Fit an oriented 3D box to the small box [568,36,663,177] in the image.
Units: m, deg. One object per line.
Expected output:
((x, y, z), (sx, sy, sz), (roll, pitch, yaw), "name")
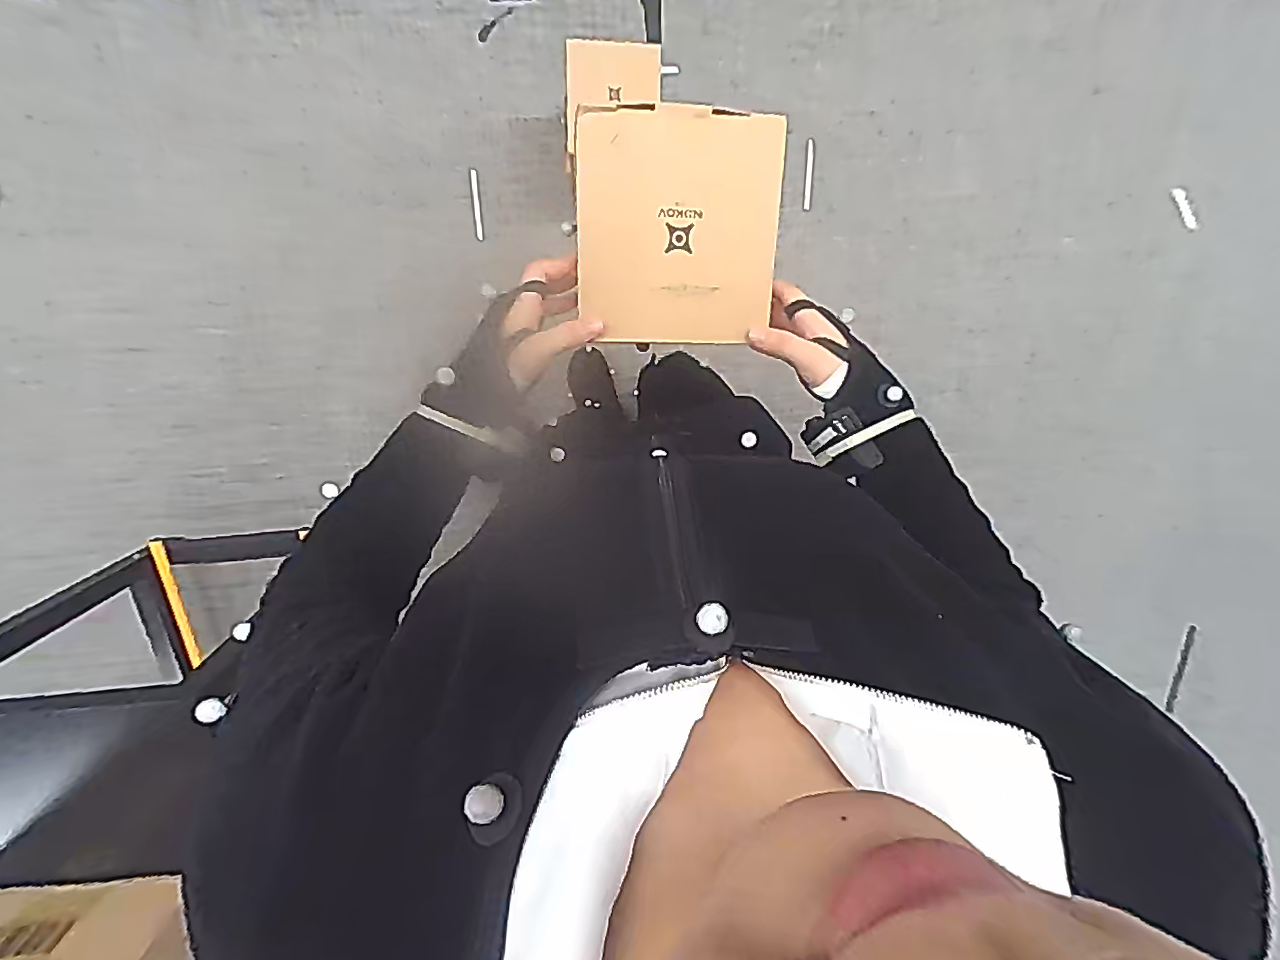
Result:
((-0.051, -0.695, 1.024), (0.168, 0.176, 0.179), (0, 109, -5), "small box")

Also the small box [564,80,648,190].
((-0.072, -0.742, 1.180), (0.179, 0.176, 0.168), (0, 109, -6), "small box")
